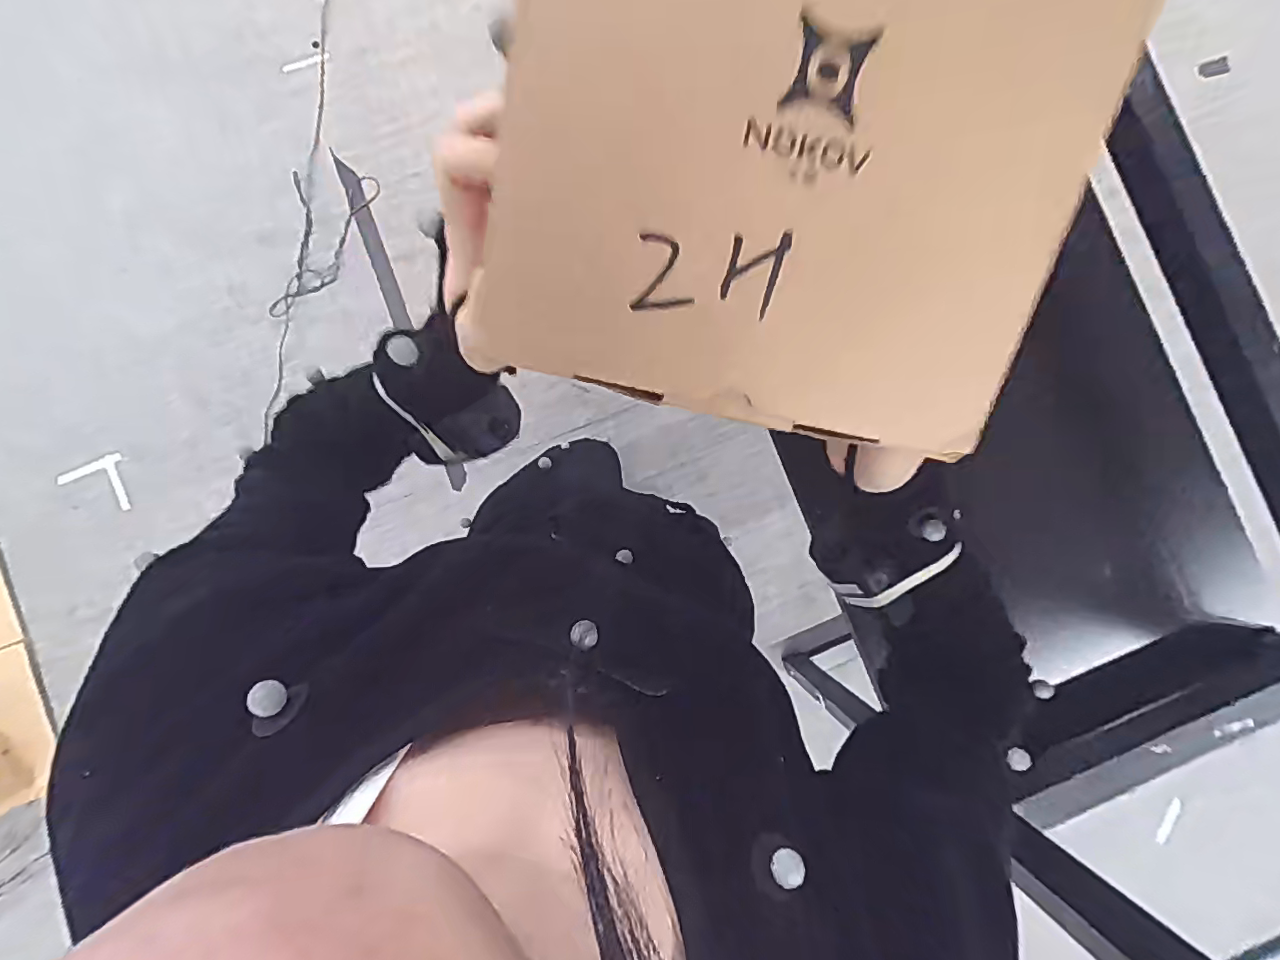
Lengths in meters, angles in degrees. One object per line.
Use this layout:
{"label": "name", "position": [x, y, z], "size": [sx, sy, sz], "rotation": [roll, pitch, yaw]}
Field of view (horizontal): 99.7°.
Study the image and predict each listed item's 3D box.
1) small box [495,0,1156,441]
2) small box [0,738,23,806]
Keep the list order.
{"label": "small box", "position": [0.047, -0.132, 0.226], "size": [0.168, 0.176, 0.179], "rotation": [10, 107, -6]}
{"label": "small box", "position": [-1.666, 0.755, 1.298], "size": [0.179, 0.176, 0.168], "rotation": [-34, 89, -4]}
